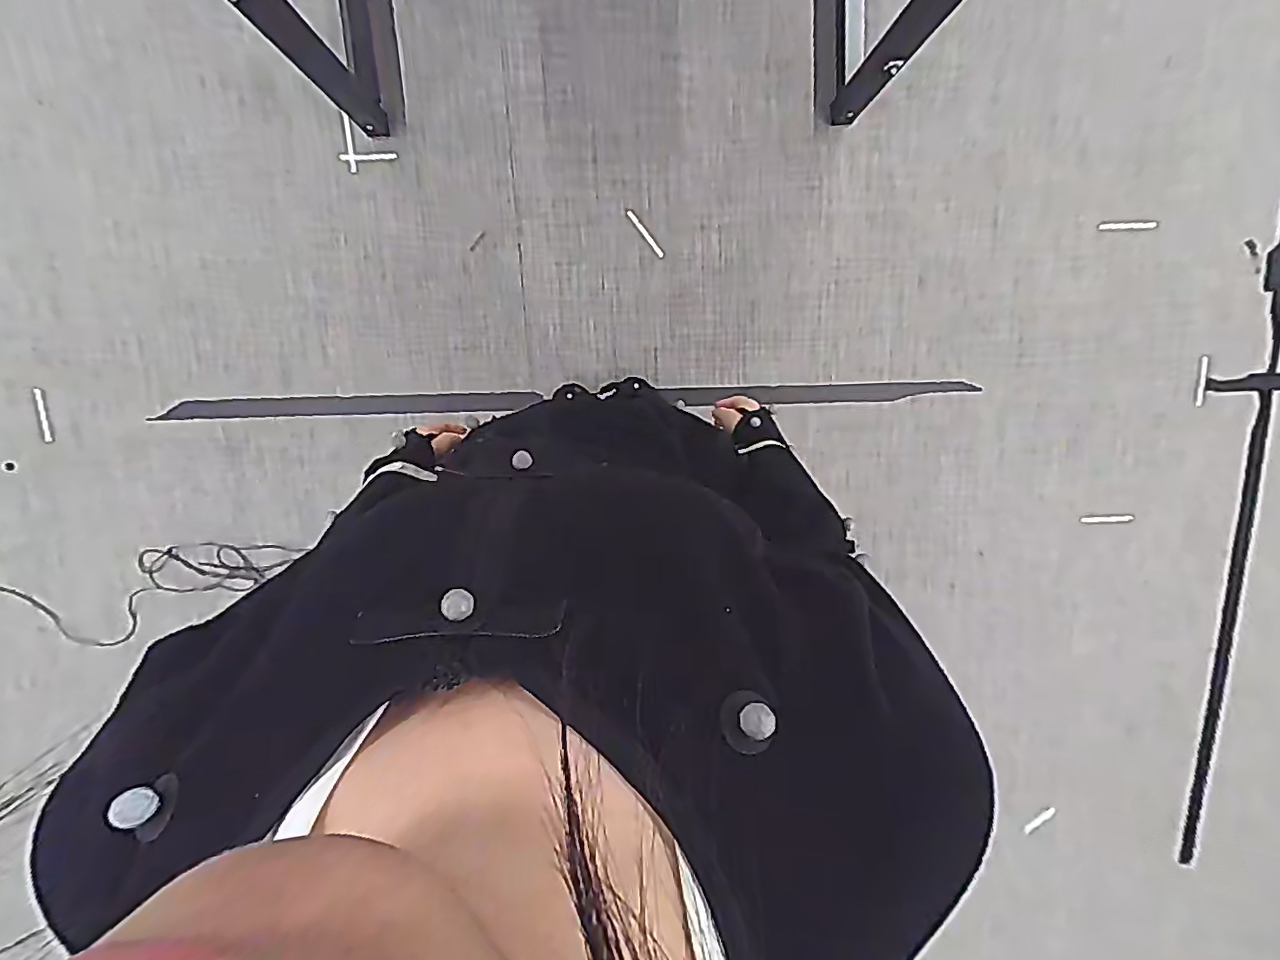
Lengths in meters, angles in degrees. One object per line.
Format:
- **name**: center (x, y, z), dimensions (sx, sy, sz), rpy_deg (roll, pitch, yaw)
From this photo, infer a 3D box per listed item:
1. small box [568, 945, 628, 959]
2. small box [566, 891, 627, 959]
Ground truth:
- **small box**: center (-0.127, 1.470, 1.533), dimensions (0.179, 0.176, 0.168), rpy_deg (7, 99, -5)
- **small box**: center (-0.137, 1.432, 1.692), dimensions (0.179, 0.176, 0.168), rpy_deg (4, 100, -4)
